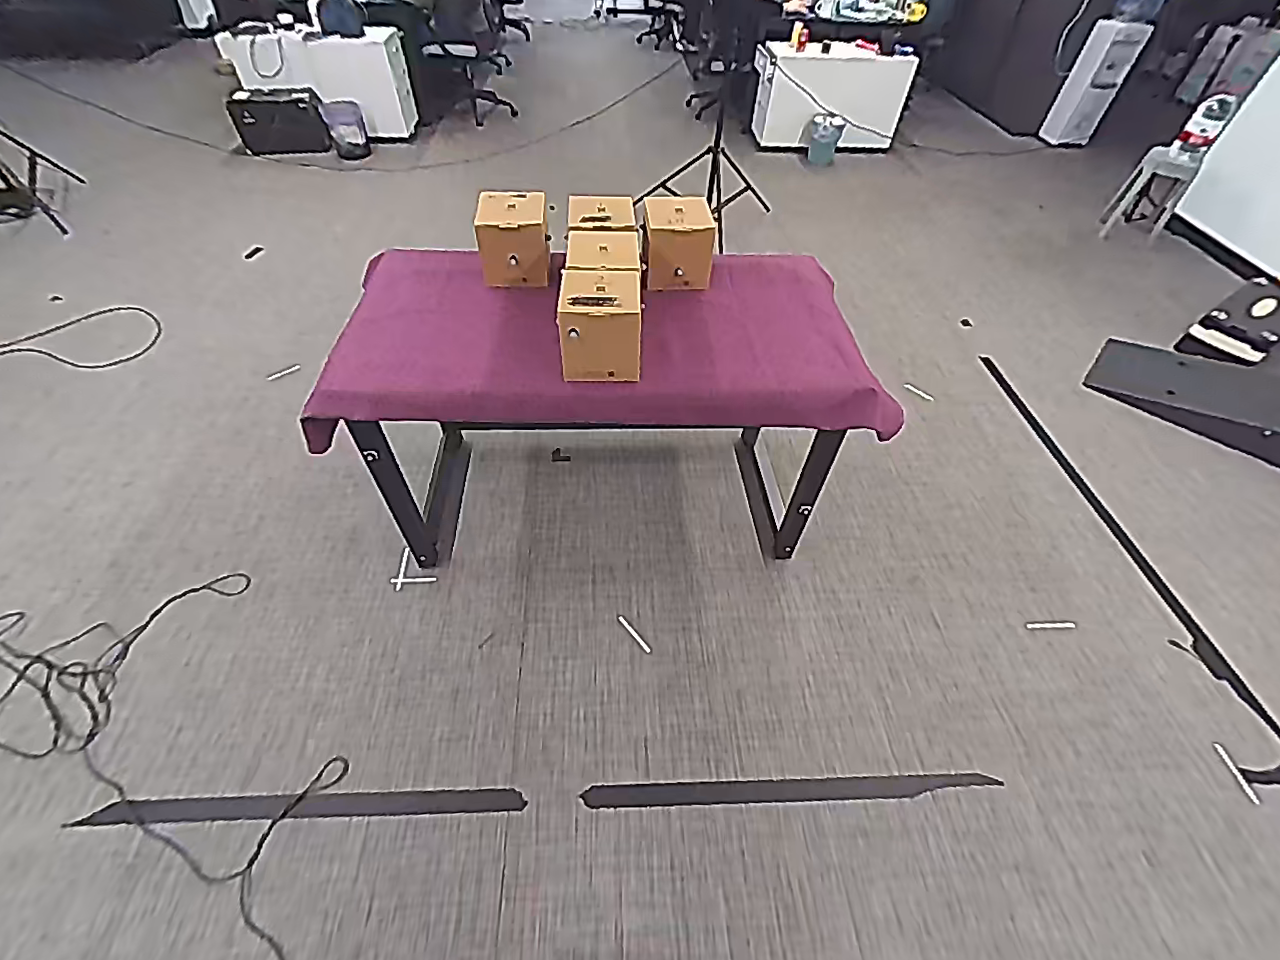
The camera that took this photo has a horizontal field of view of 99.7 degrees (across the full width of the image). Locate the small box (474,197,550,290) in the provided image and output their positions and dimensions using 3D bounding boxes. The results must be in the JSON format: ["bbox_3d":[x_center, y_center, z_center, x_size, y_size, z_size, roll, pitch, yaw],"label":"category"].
[{"bbox_3d":[-0.325,-0.612,1.409,0.168,0.176,0.179,-2,52,-4],"label":"small box"}]
